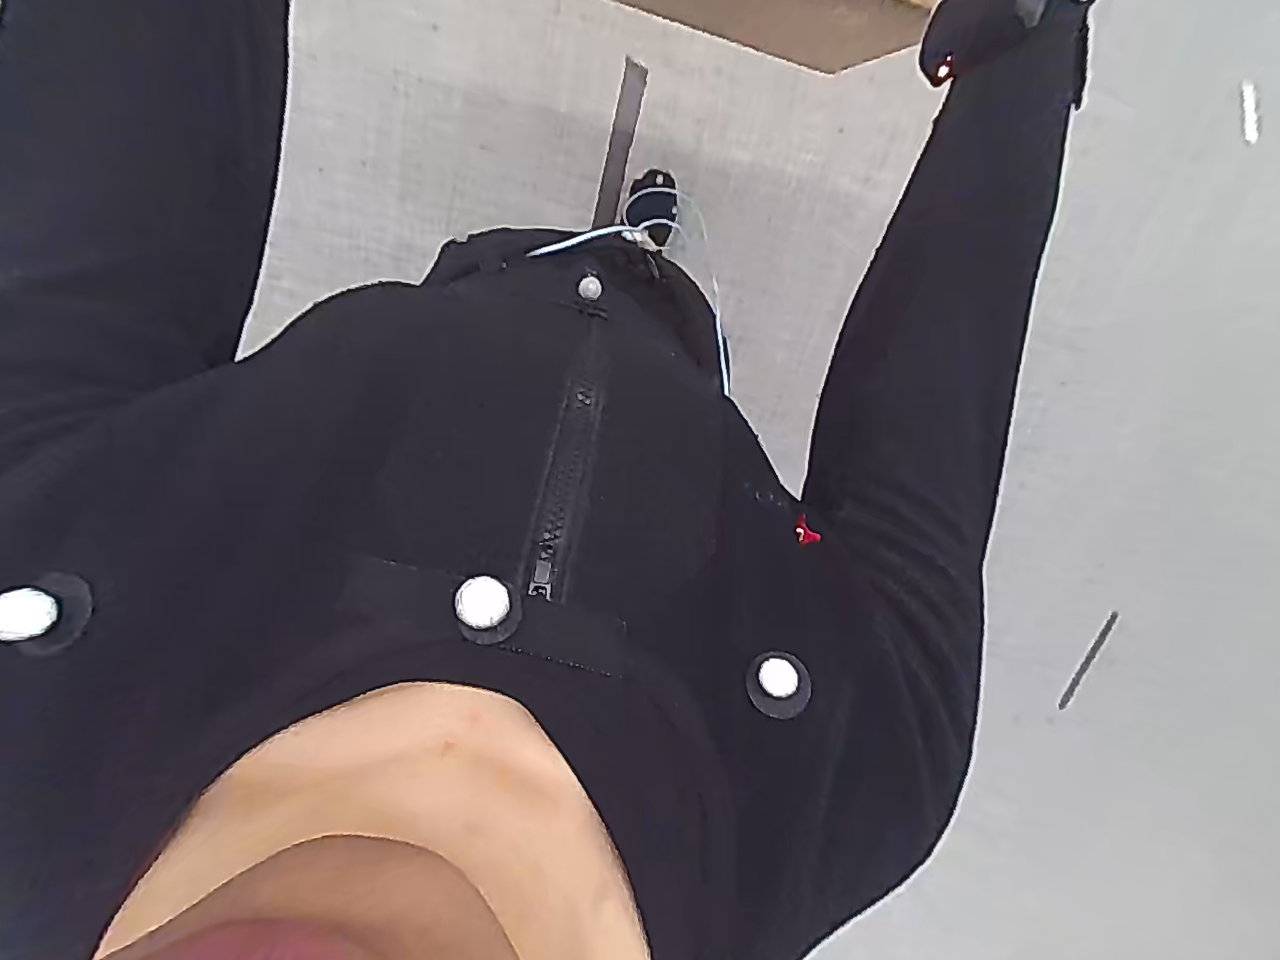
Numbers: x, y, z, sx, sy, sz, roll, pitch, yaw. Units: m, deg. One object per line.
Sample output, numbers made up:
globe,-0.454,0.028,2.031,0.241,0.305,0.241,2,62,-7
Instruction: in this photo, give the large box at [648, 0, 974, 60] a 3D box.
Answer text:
large box,0.073,-0.567,0.393,0.408,0.320,0.320,12,122,-8
